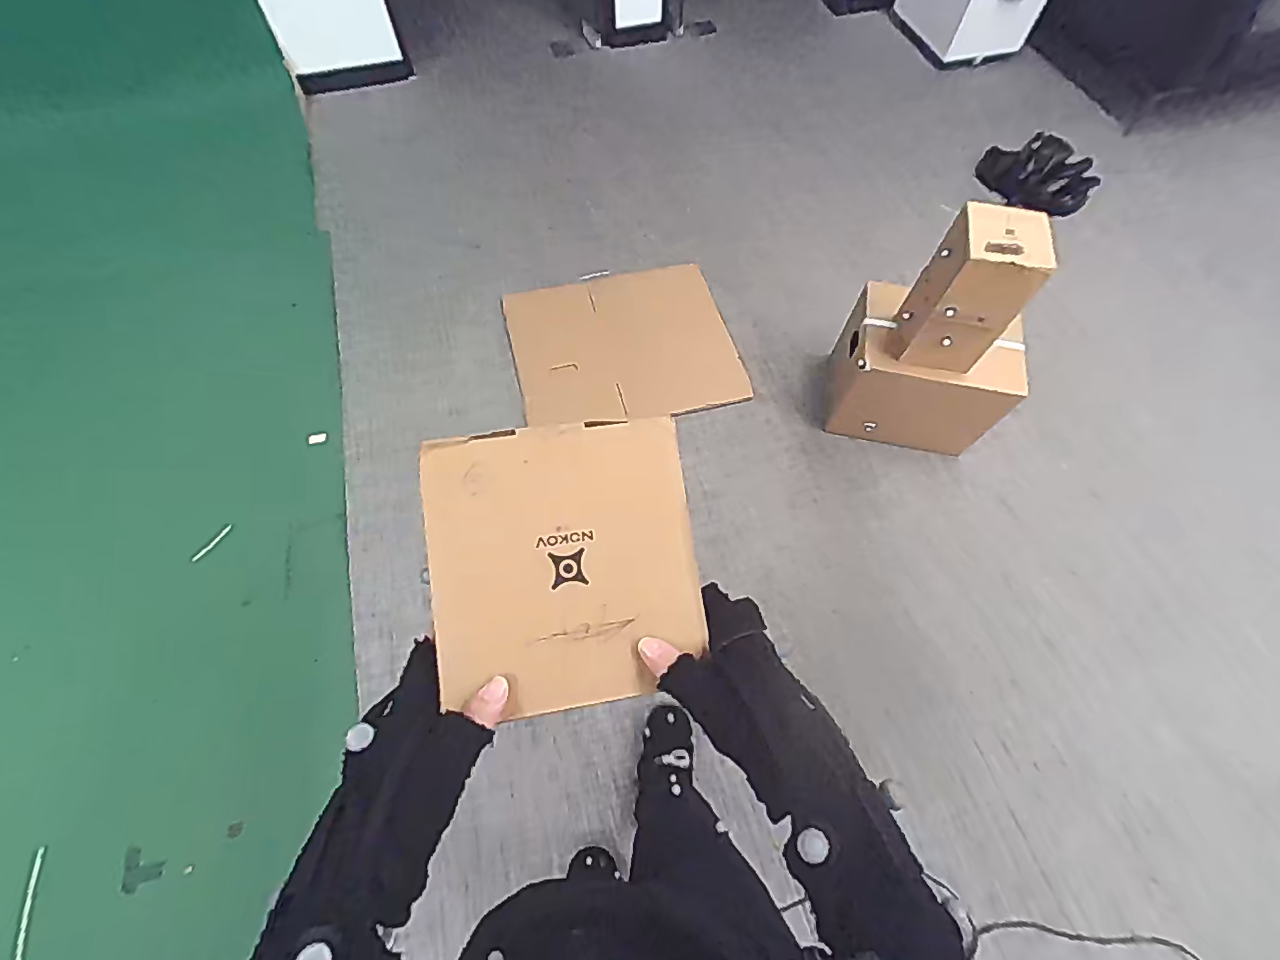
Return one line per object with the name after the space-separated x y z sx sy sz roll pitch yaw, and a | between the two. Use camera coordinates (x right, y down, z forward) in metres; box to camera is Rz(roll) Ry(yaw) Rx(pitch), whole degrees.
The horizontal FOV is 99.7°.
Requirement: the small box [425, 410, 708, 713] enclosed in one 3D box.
-0.059 0.059 0.426 0.168 0.176 0.179 -8 83 -9 | small box

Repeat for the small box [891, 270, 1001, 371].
0.734 -0.386 1.325 0.179 0.176 0.168 7 62 2 | small box

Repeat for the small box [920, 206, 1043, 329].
0.729 -0.455 1.173 0.168 0.176 0.179 12 63 5 | small box
